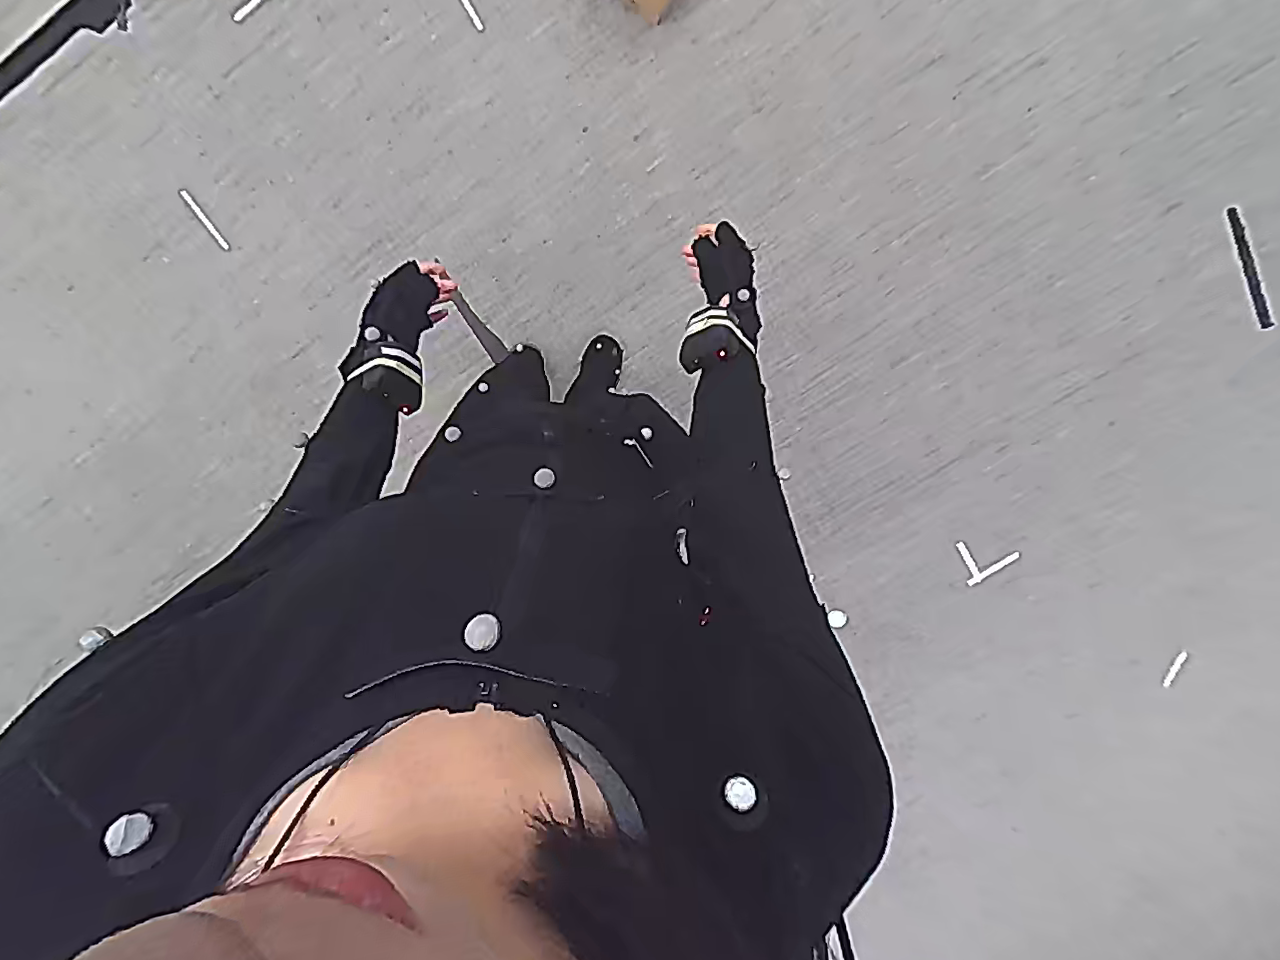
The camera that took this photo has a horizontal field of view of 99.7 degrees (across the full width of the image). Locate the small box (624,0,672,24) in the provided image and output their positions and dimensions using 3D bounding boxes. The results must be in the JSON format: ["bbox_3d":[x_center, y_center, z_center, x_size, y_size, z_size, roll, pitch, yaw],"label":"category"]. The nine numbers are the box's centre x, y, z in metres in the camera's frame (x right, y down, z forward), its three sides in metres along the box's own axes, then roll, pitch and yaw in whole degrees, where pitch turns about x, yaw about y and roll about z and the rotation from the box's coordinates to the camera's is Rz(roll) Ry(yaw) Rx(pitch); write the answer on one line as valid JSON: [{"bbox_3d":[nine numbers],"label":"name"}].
[{"bbox_3d":[0.022,-1.128,1.129,0.168,0.176,0.179,34,102,-11],"label":"small box"}]
